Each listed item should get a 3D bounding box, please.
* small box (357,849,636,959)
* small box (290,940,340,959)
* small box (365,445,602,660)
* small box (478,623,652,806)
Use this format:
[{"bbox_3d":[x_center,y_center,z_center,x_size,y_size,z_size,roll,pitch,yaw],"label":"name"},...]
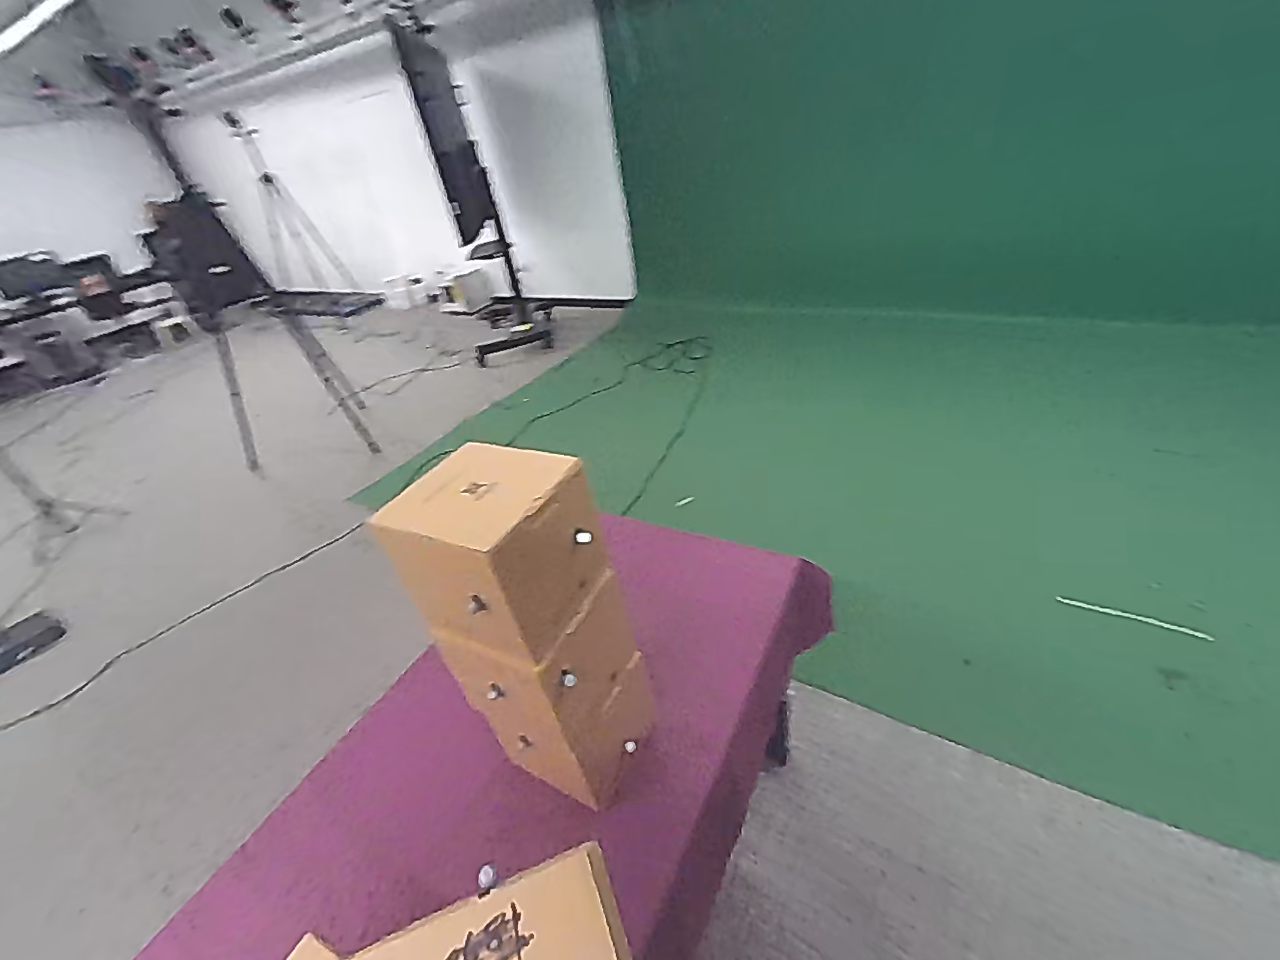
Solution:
[{"bbox_3d":[-0.076,0.367,0.342,0.168,0.176,0.179,-17,61,-12],"label":"small box"},{"bbox_3d":[-0.290,0.595,0.508,0.179,0.176,0.168,8,39,28],"label":"small box"},{"bbox_3d":[-0.165,0.080,0.627,0.179,0.176,0.168,9,39,28],"label":"small box"},{"bbox_3d":[-0.102,0.345,0.809,0.179,0.176,0.168,12,41,30],"label":"small box"}]
